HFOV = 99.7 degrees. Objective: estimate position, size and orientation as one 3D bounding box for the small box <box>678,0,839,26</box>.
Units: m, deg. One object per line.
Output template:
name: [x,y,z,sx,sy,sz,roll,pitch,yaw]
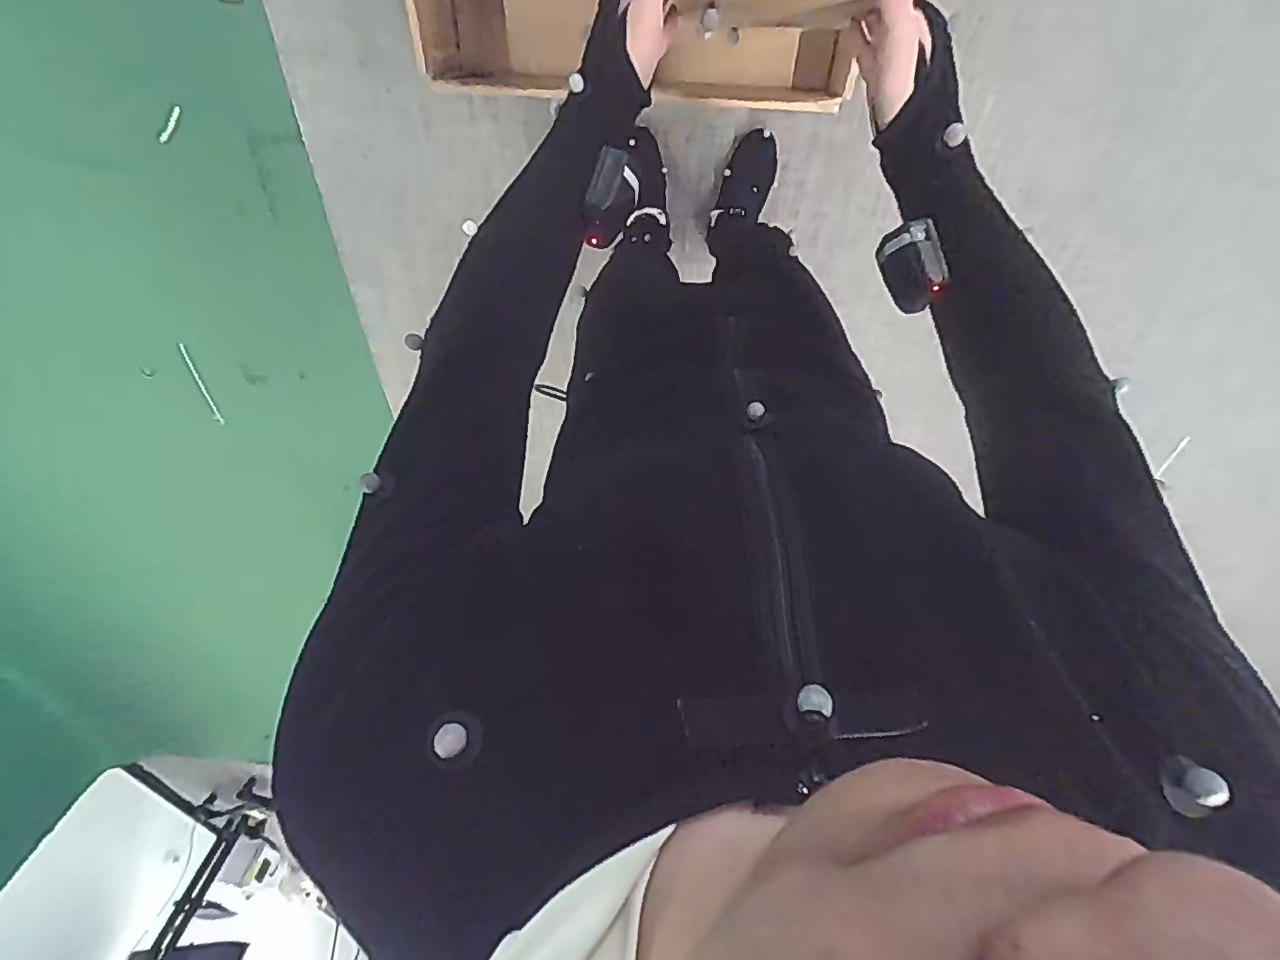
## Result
small box: [0.129,-0.595,0.565,0.168,0.176,0.179,5,130,4]
